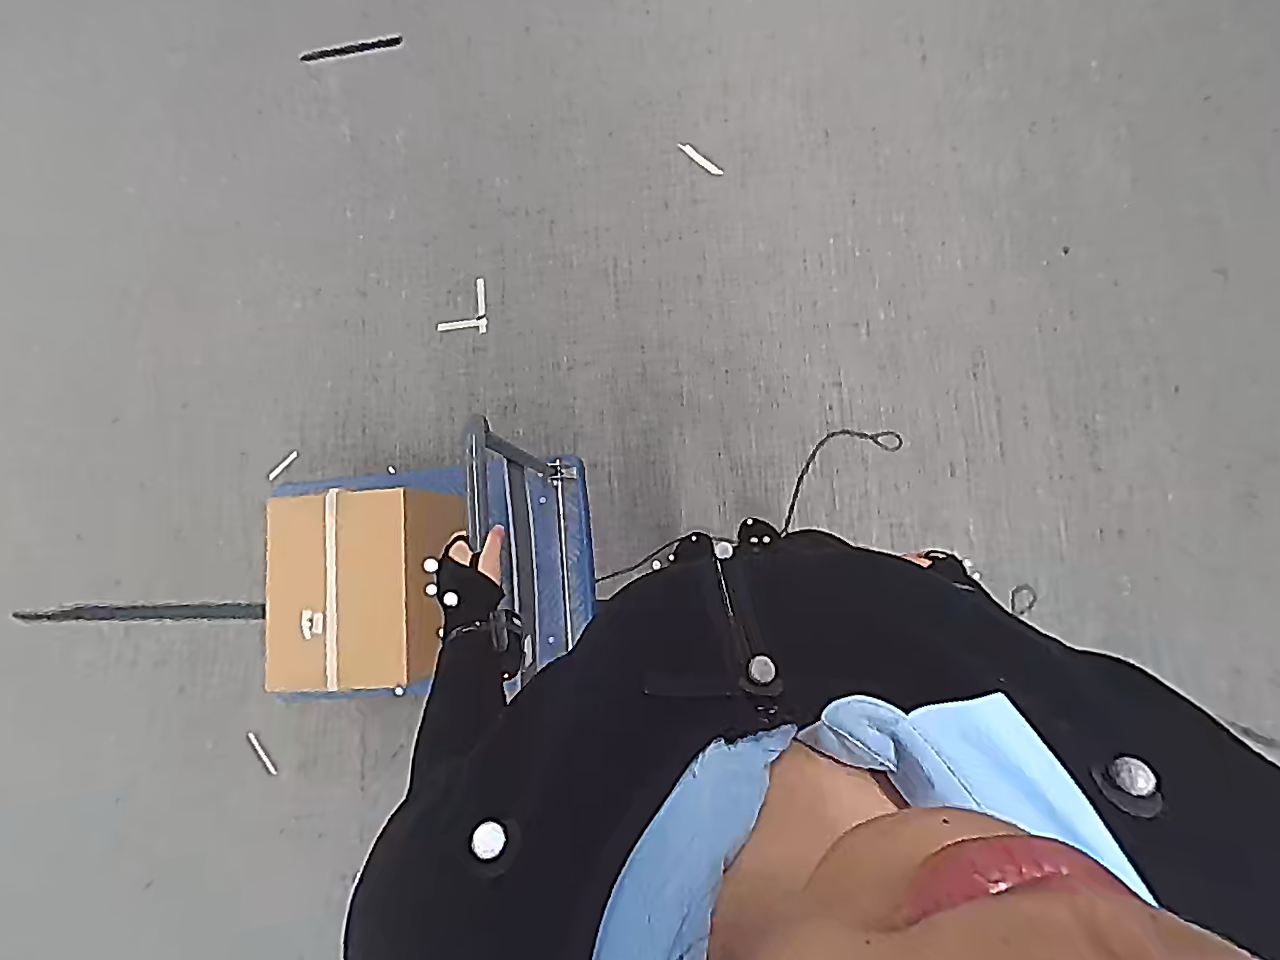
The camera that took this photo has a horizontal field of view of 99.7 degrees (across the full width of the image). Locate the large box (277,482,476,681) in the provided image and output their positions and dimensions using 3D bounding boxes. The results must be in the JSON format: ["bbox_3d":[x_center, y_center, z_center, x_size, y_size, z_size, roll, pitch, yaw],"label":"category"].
[{"bbox_3d":[-0.600,0.223,1.277,0.320,0.320,0.408,-4,85,8],"label":"large box"}]
